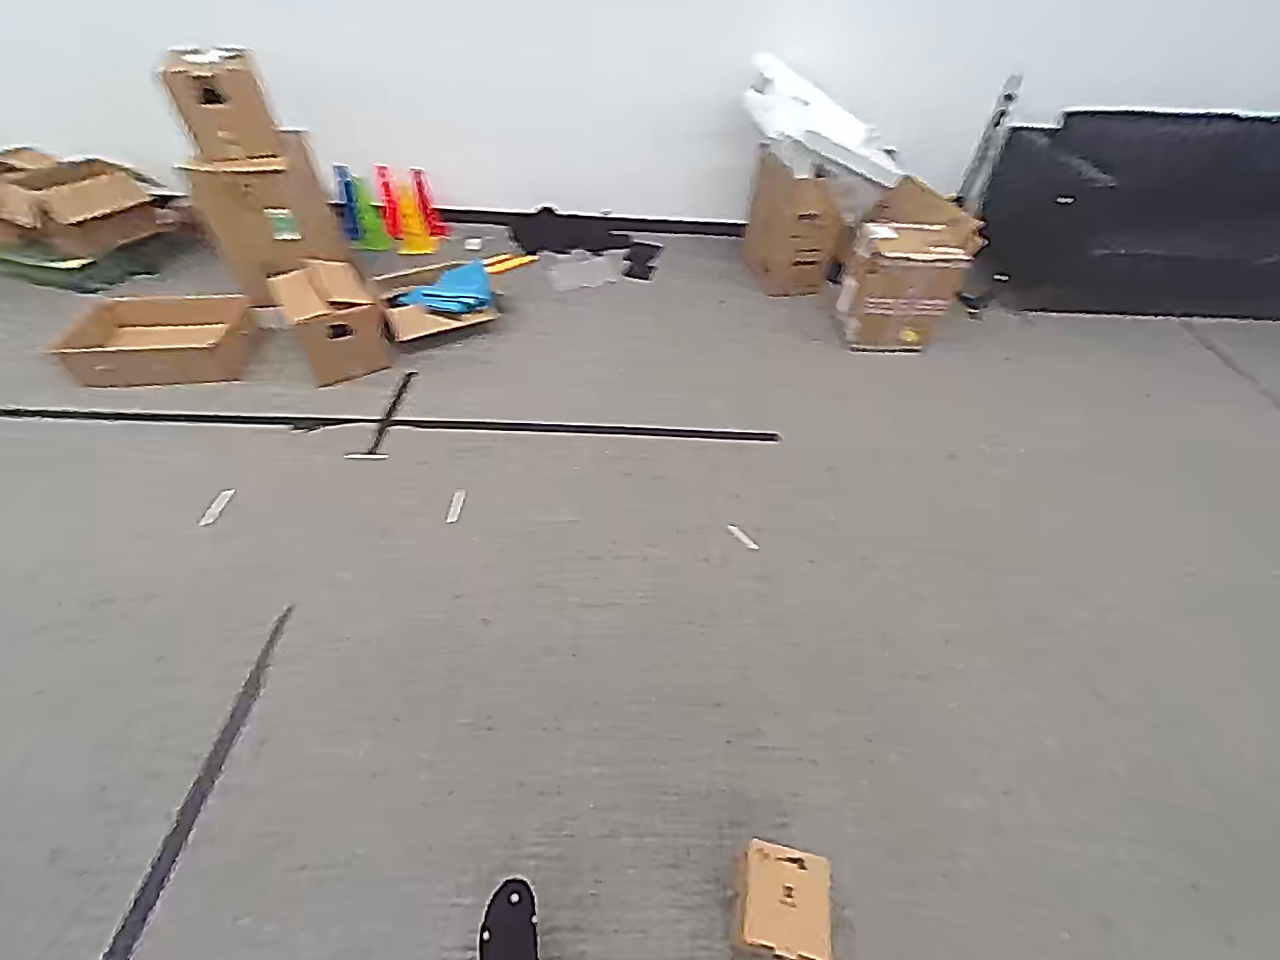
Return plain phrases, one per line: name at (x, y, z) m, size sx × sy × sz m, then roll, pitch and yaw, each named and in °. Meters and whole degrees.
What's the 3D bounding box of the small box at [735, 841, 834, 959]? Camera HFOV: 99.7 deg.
small box at (0.299, 0.894, 1.132) m, size 0.168 × 0.176 × 0.179 m, roll 12°, pitch 47°, yaw 7°
